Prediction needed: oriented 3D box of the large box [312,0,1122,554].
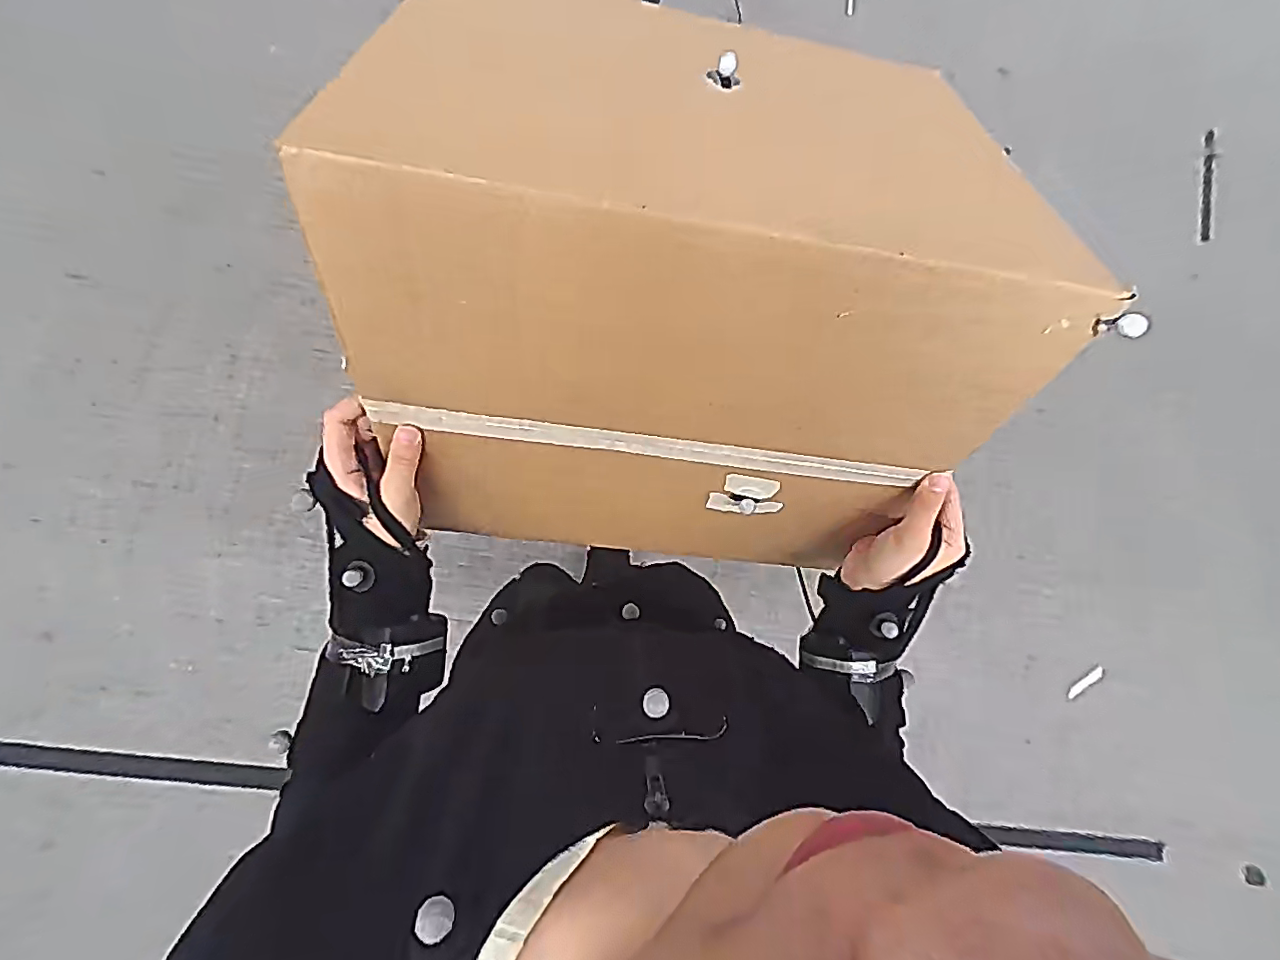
[{"bbox_3d":[0.030,-0.156,0.460,0.408,0.320,0.320,6,55,-7],"label":"large box"}]
